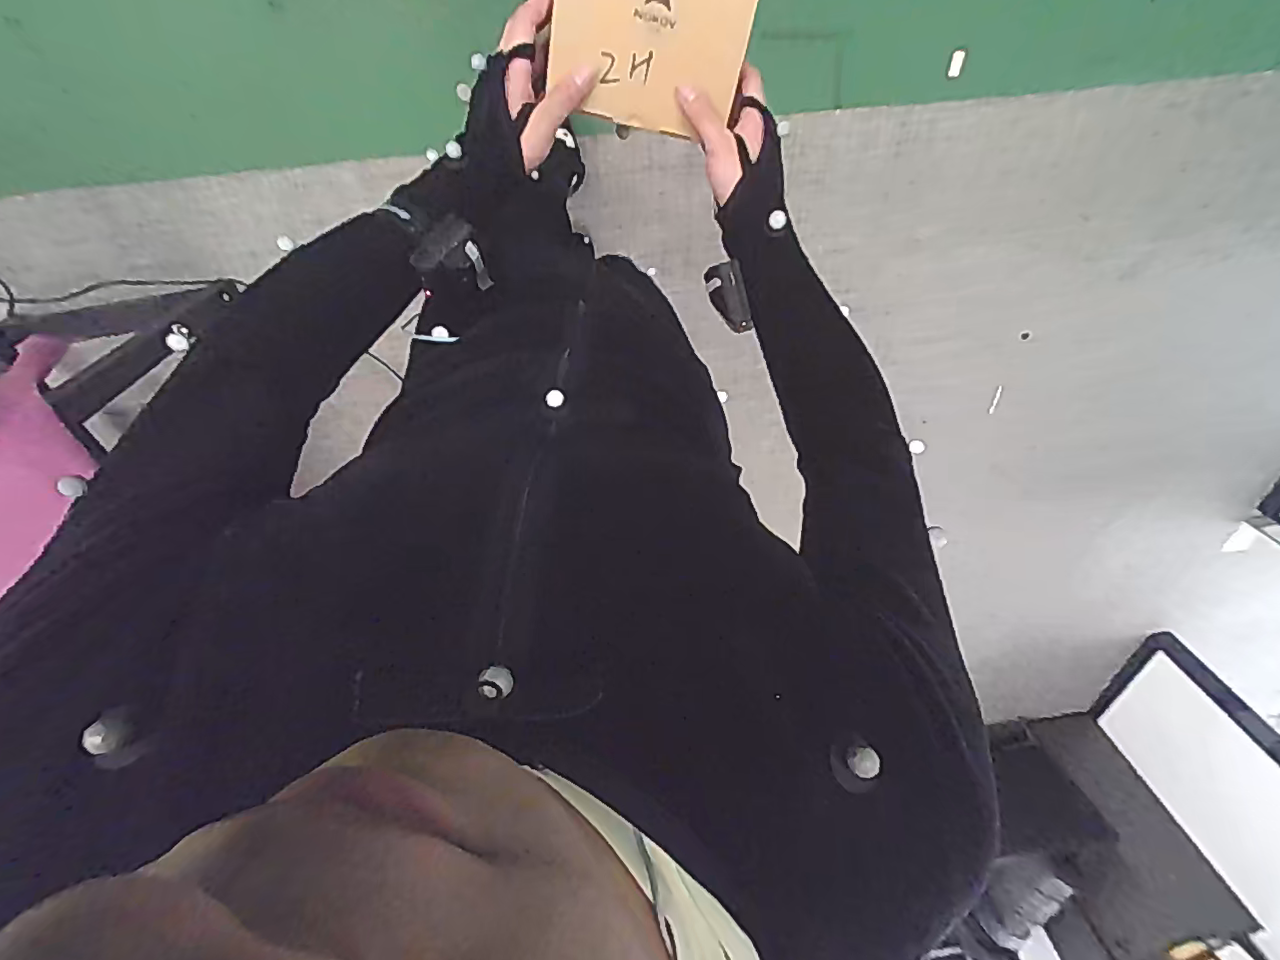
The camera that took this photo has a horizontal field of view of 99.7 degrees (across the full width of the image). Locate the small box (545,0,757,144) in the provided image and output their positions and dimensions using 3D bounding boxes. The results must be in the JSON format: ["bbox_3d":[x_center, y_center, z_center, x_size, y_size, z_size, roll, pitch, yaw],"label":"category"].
[{"bbox_3d":[0.005,-0.441,0.503,0.168,0.176,0.179,7,126,-13],"label":"small box"}]
